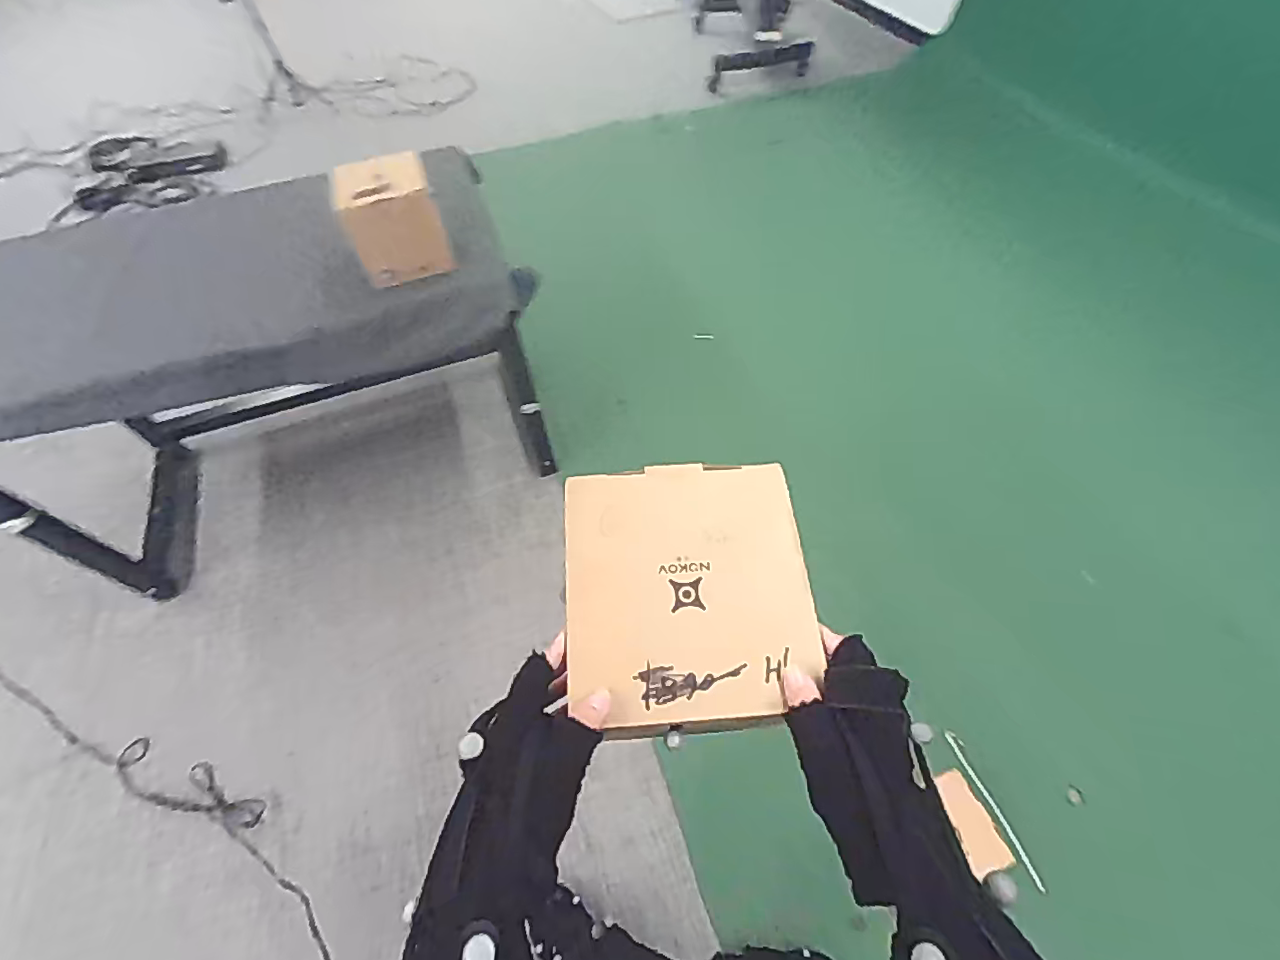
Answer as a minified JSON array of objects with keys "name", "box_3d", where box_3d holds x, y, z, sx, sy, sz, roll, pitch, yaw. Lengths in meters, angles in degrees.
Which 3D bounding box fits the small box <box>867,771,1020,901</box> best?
[{"name":"small box","box_3d":[0.588,0.704,1.076,0.179,0.176,0.168,-17,55,-9]}]

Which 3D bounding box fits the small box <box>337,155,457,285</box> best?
[{"name":"small box","box_3d":[-0.482,-0.514,1.087,0.168,0.176,0.179,-18,55,-9]}]

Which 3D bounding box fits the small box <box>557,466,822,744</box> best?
[{"name":"small box","box_3d":[0.023,0.108,0.437,0.168,0.176,0.179,-5,63,-3]}]
